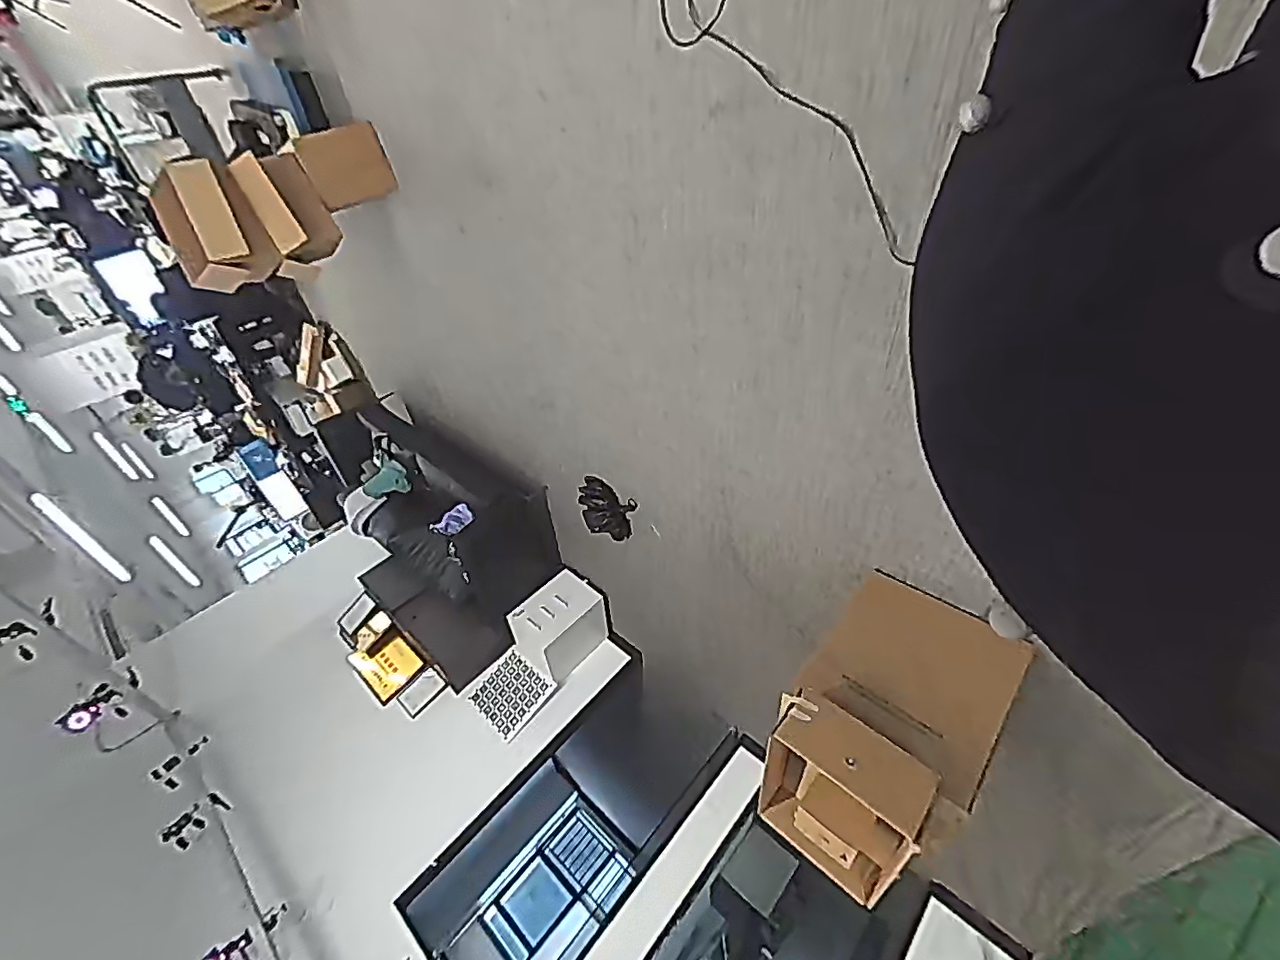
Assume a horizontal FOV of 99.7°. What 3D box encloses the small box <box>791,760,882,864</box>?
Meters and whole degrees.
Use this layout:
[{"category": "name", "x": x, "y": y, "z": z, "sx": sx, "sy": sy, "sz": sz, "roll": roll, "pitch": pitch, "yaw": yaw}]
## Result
[{"category": "small box", "x": 0.559, "y": 0.937, "z": 1.546, "sx": 0.179, "sy": 0.176, "sz": 0.168, "roll": 29, "pitch": 144, "yaw": 35}]
